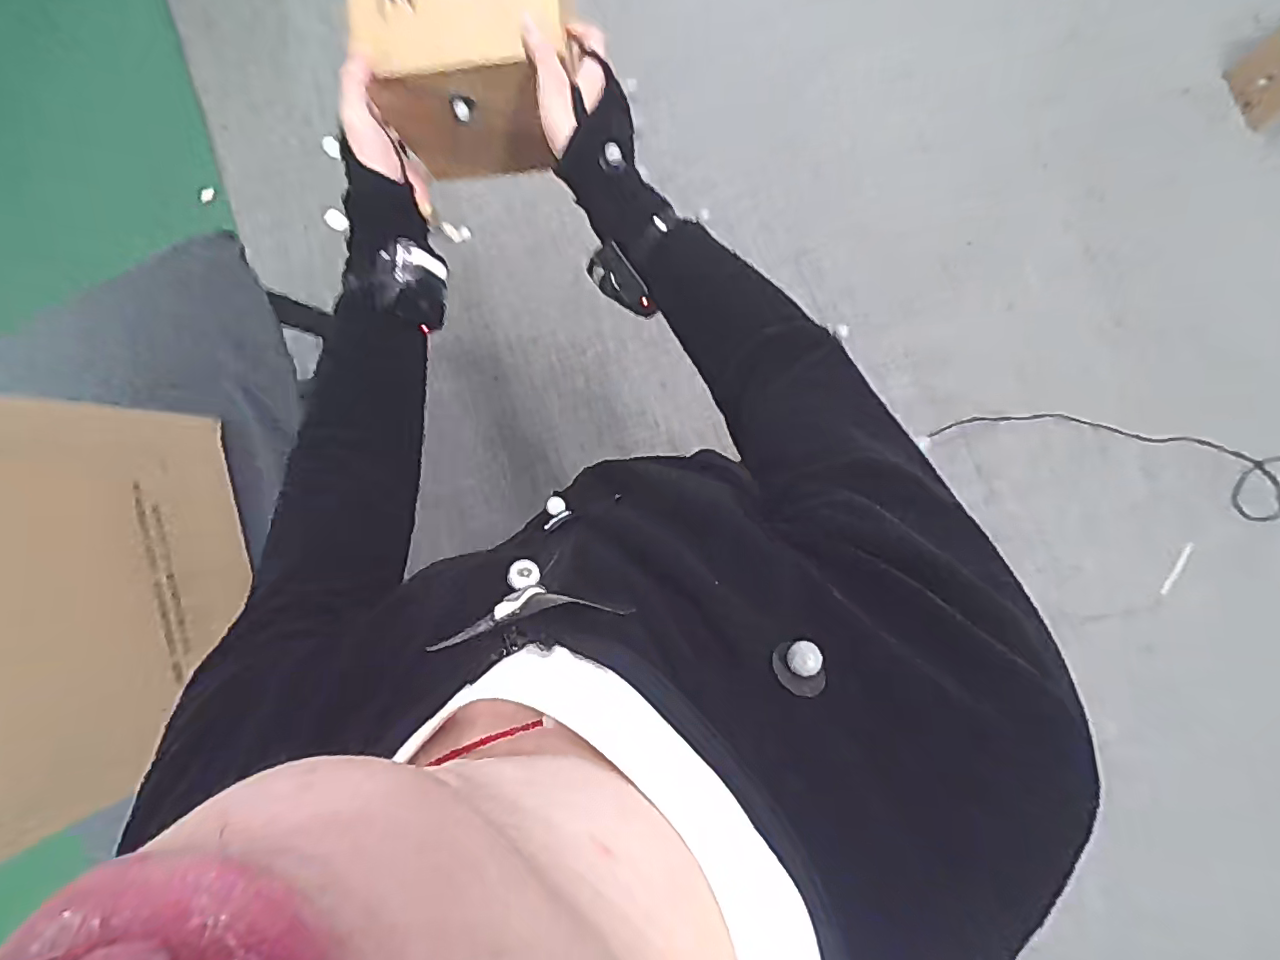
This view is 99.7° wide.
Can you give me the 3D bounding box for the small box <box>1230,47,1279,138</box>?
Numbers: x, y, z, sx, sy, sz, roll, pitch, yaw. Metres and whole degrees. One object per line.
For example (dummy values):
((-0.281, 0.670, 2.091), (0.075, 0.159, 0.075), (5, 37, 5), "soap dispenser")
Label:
((1.509, -0.909, 1.204), (0.179, 0.176, 0.168), (38, 94, 10), "small box")
